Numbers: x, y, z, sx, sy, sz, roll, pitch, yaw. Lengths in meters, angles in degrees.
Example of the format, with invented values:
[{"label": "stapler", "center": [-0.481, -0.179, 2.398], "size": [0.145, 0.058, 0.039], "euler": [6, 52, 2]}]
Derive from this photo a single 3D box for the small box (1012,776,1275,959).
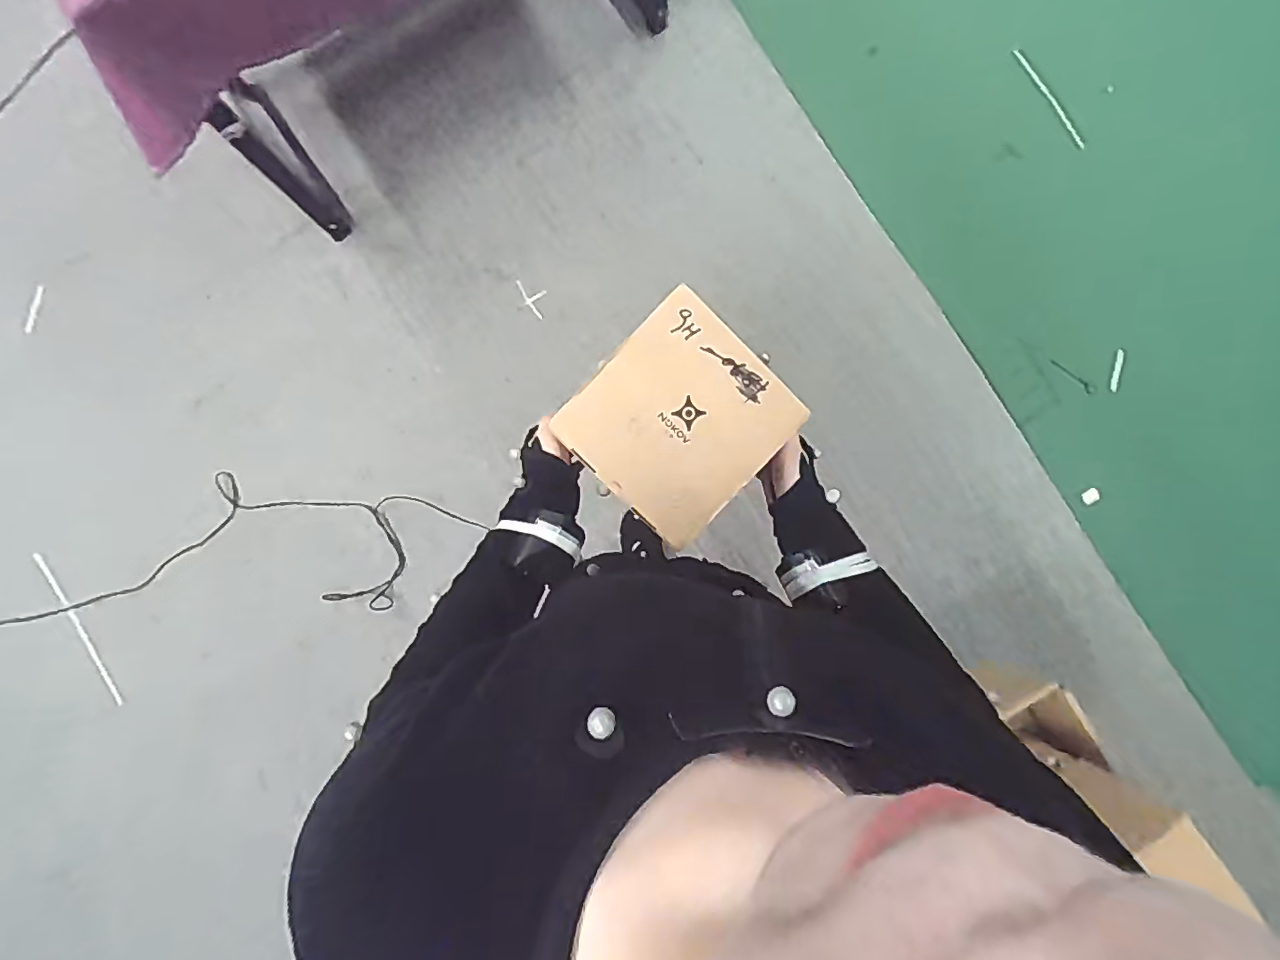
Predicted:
[{"label": "small box", "center": [0.682, 0.553, 0.759], "size": [0.168, 0.176, 0.179], "euler": [-34, 87, -2]}]
